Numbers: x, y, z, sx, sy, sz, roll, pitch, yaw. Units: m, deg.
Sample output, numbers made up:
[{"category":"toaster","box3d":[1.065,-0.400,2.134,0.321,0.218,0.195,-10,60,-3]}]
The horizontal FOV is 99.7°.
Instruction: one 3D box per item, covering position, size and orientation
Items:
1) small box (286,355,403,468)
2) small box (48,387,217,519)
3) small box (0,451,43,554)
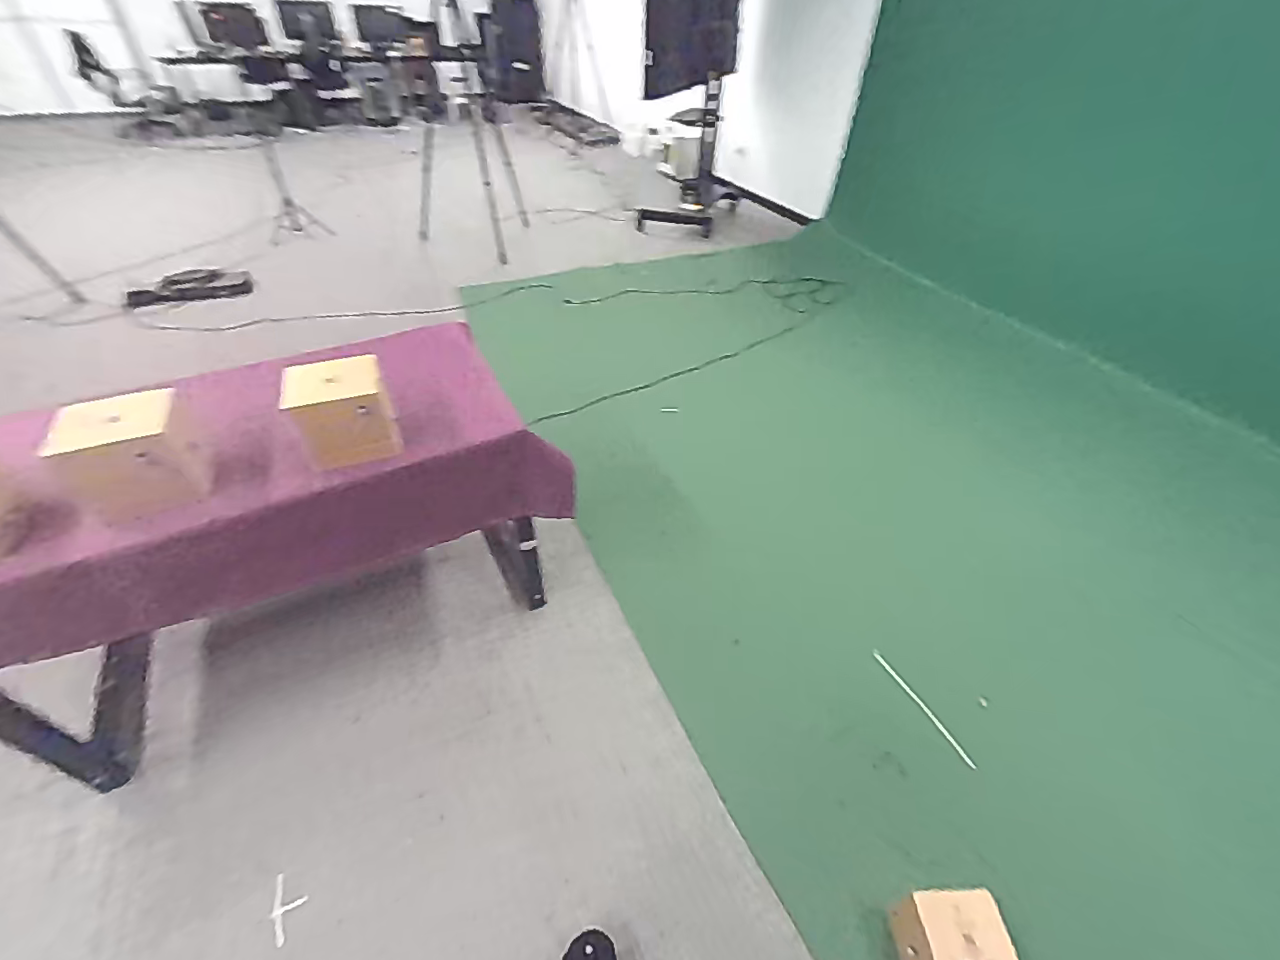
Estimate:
[{"category":"small box","box3d":[-0.633,-0.147,1.172,0.179,0.176,0.168,-14,45,-18]},{"category":"small box","box3d":[-0.964,-0.053,1.051,0.179,0.176,0.168,-17,45,-20]},{"category":"small box","box3d":[-1.224,0.043,0.935,0.179,0.176,0.168,-13,45,-17]}]
